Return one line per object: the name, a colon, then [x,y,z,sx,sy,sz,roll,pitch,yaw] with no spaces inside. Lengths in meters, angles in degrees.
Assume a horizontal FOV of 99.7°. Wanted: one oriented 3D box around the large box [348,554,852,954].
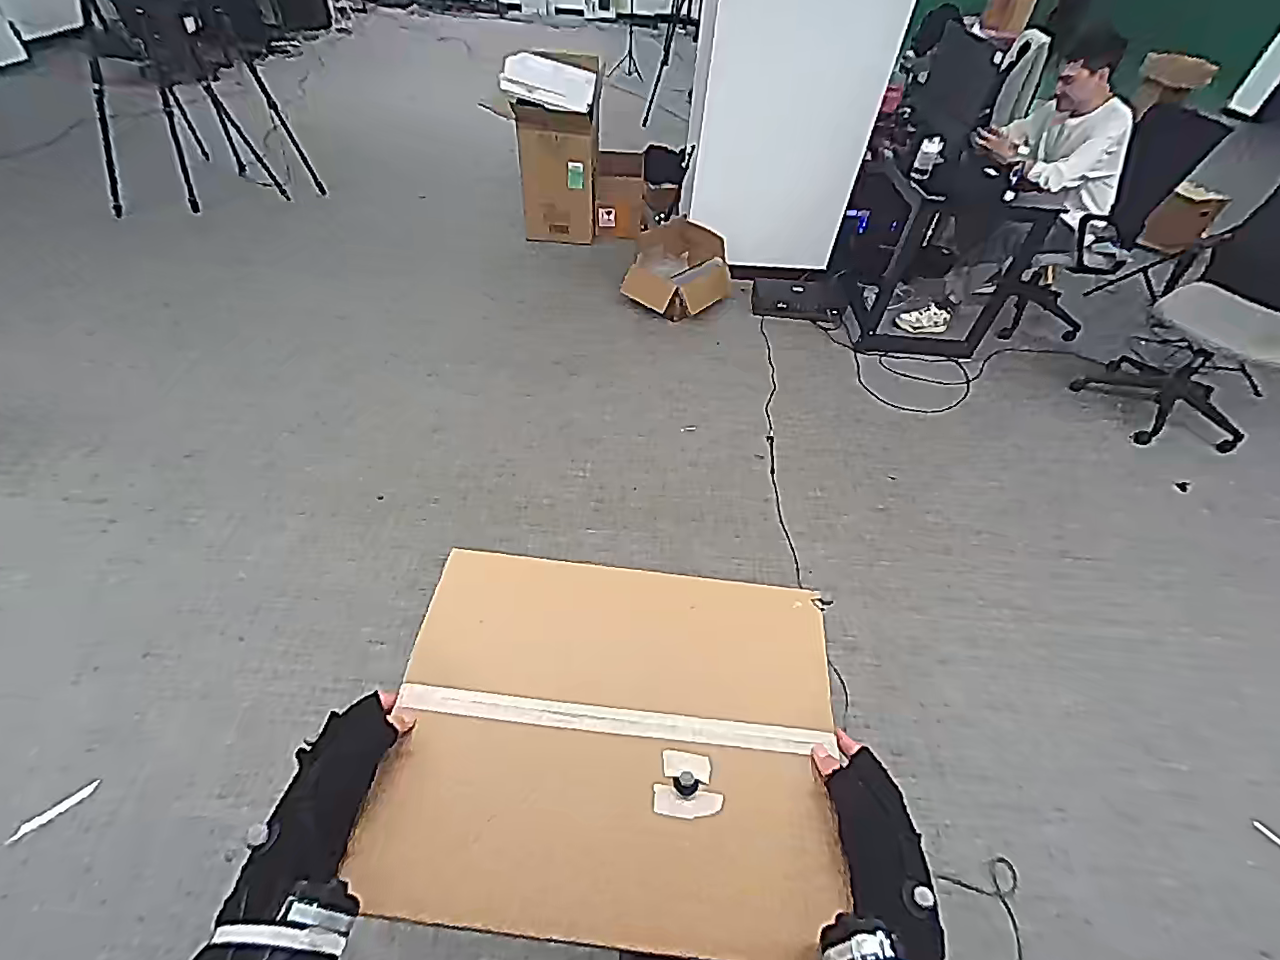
large box: [-0.029,0.313,0.624,0.408,0.320,0.320,7,53,1]
